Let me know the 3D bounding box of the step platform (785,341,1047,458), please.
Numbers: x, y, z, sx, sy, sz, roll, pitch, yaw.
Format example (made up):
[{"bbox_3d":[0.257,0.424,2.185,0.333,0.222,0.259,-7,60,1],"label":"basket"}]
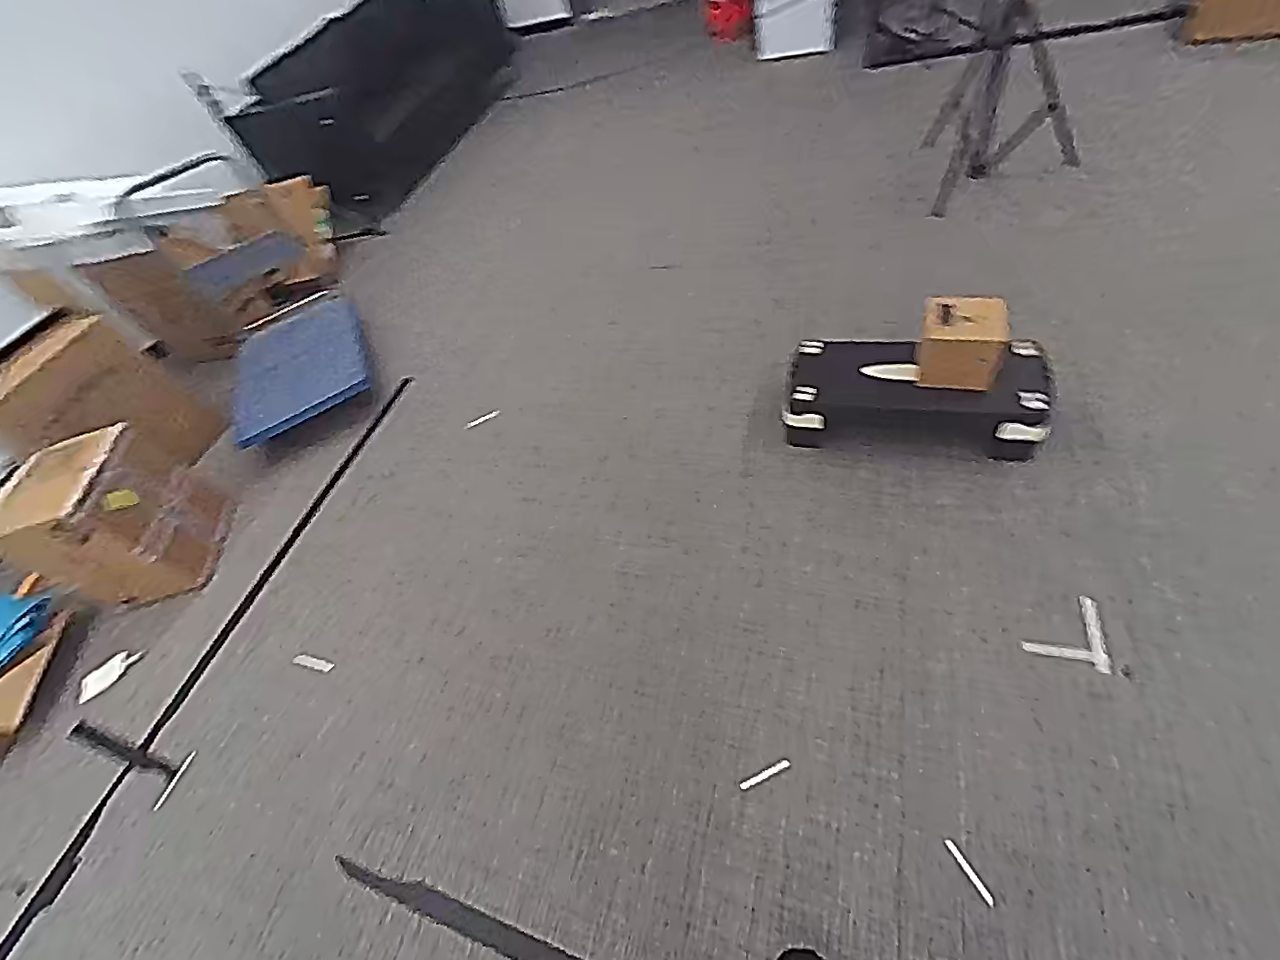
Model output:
[{"bbox_3d":[0.790,-0.254,1.615,0.684,0.204,0.286,5,54,21],"label":"step platform"}]
